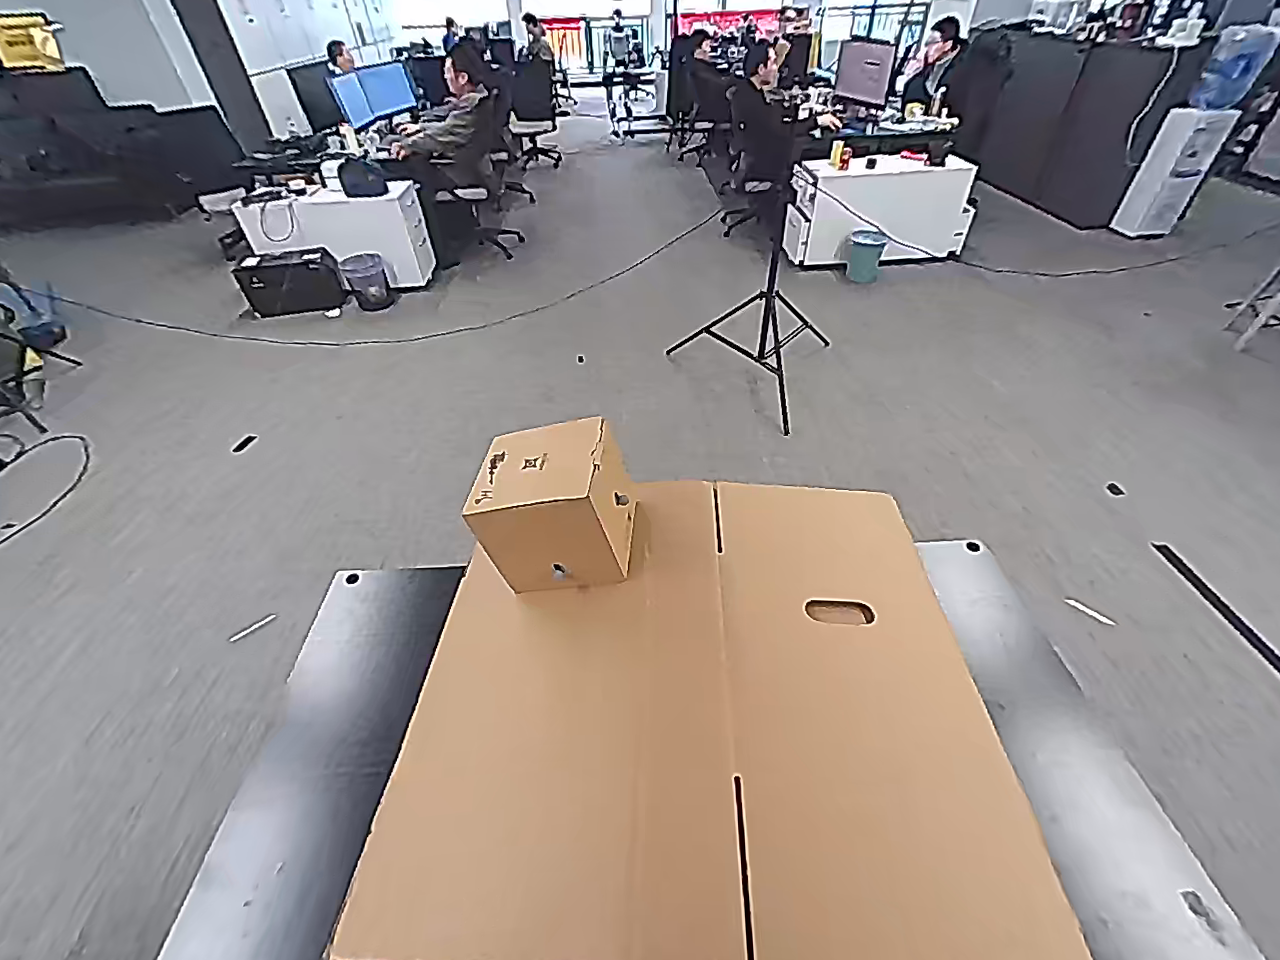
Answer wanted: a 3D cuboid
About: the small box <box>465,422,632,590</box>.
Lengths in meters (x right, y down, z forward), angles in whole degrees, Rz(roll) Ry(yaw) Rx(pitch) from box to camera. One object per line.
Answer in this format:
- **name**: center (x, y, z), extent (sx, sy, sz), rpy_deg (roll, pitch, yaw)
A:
- **small box**: center (-0.116, 0.041, 0.783), extent (0.179, 0.176, 0.168), rpy_deg (-8, 40, 12)
